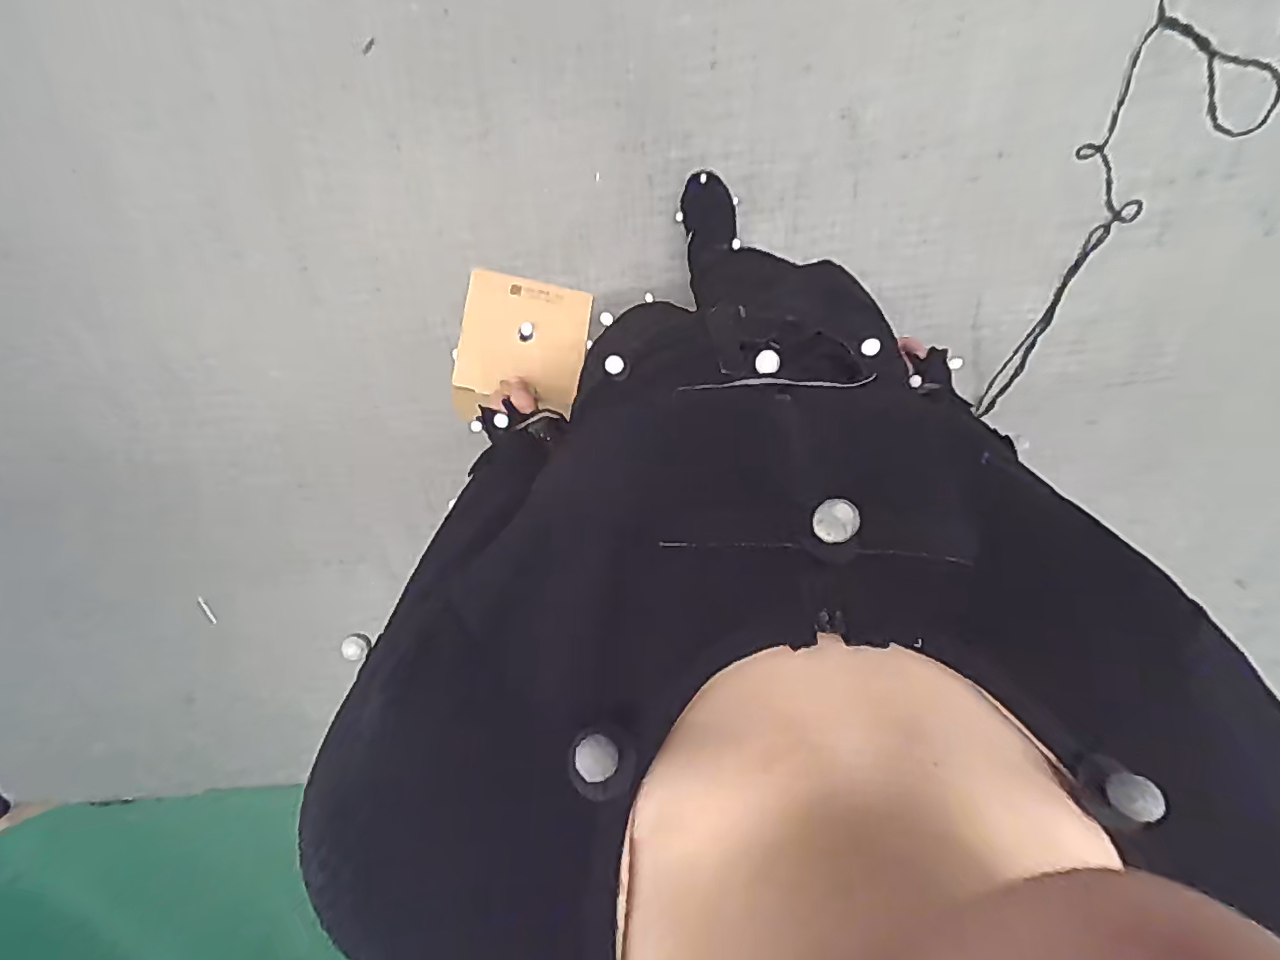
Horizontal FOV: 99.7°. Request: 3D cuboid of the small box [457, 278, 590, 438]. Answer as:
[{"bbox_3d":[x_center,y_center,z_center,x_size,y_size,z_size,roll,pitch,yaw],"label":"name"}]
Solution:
[{"bbox_3d":[-0.170,-0.173,0.799,0.168,0.179,0.176,7,79,-13],"label":"small box"}]
